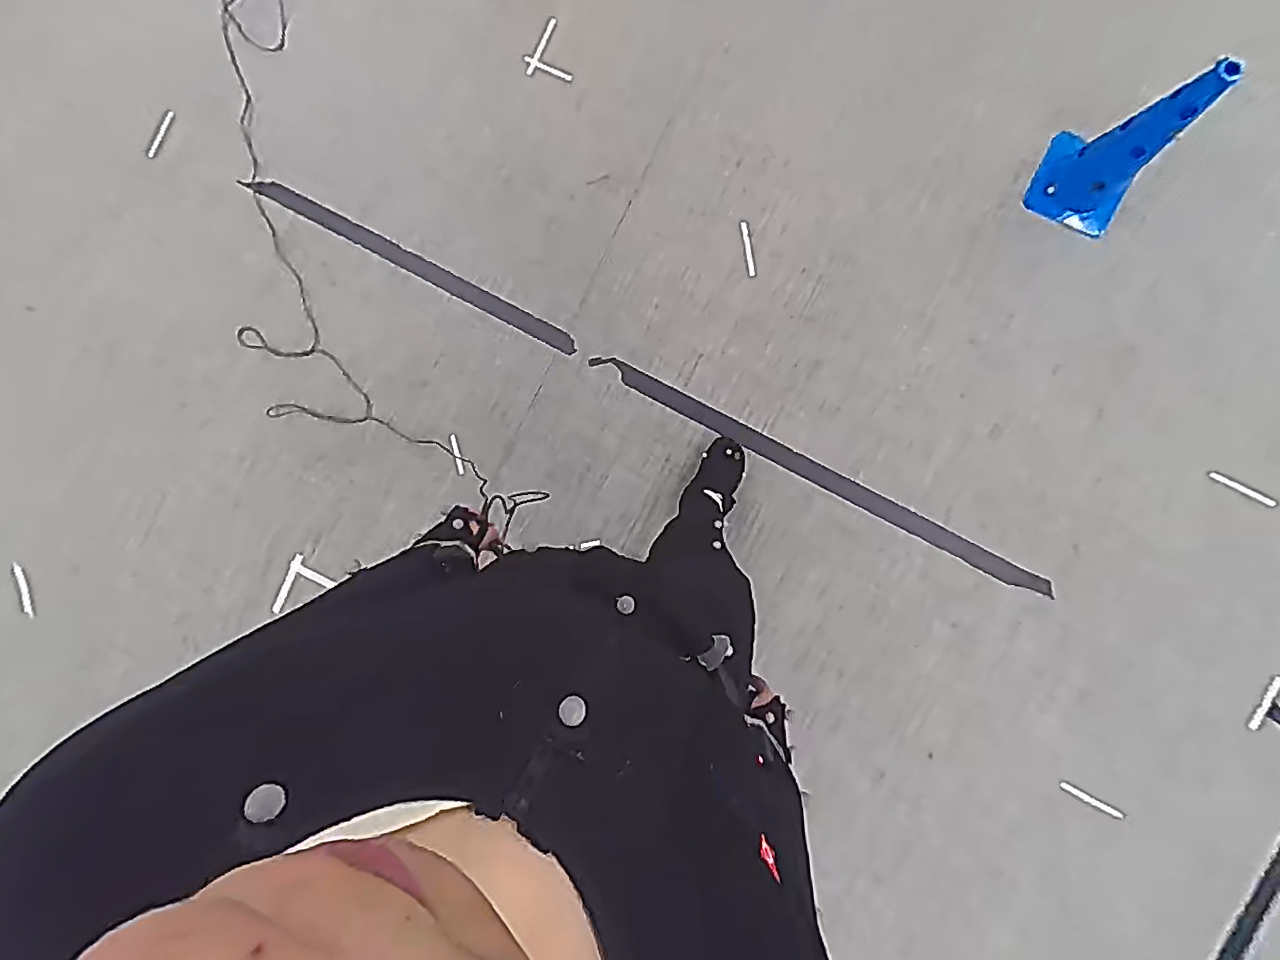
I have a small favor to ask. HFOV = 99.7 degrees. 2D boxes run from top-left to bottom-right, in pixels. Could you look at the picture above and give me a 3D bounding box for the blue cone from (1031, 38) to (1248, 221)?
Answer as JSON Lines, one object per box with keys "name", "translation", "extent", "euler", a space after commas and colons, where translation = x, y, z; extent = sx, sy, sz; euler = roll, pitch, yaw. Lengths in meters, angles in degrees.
{"name": "blue cone", "translation": [1.014, -0.714, 1.094], "extent": [0.193, 0.380, 0.192], "euler": [28, 91, 5]}
